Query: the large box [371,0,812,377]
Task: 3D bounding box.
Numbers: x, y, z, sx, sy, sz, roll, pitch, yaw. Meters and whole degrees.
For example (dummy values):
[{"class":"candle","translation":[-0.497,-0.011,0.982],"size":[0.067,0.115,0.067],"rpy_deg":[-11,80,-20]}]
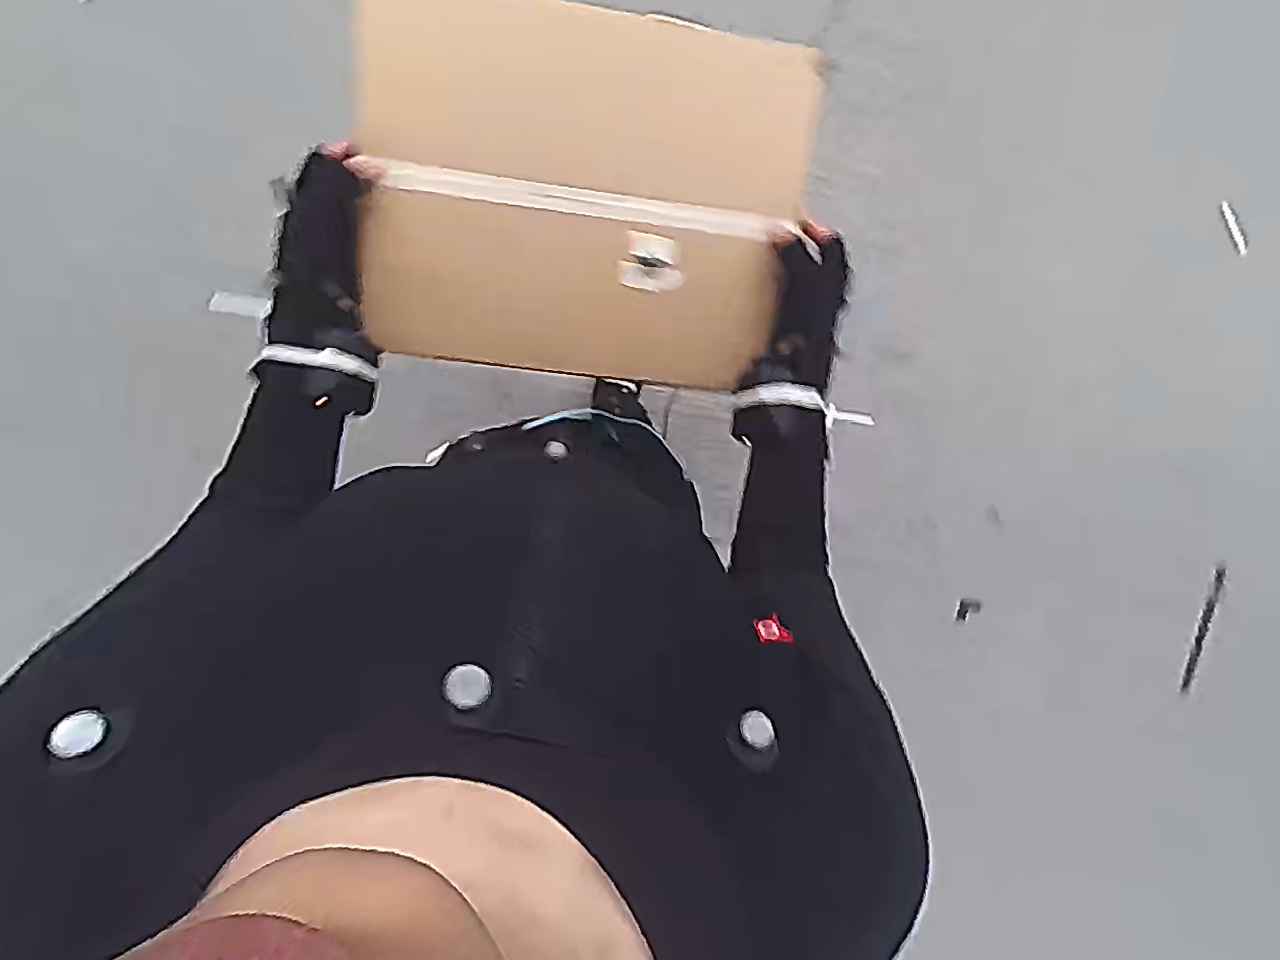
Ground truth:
[{"class":"large box","translation":[-0.064,-0.303,0.660],"size":[0.408,0.320,0.320],"rpy_deg":[5,103,-7]}]
